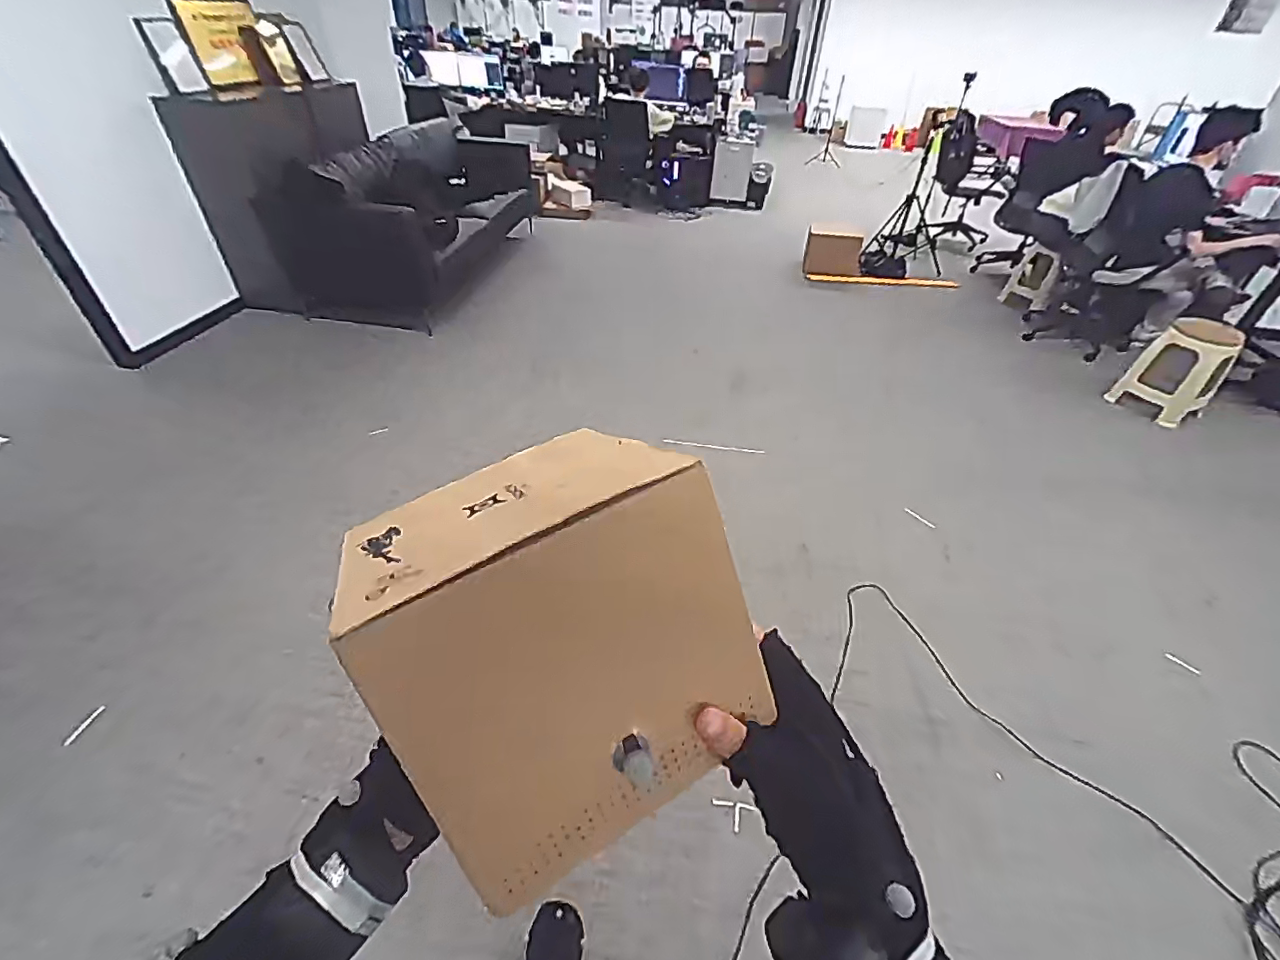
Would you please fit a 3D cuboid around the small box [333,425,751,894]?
[{"bbox_3d":[-0.051,0.080,0.326,0.179,0.176,0.168,-25,18,-20],"label":"small box"}]
